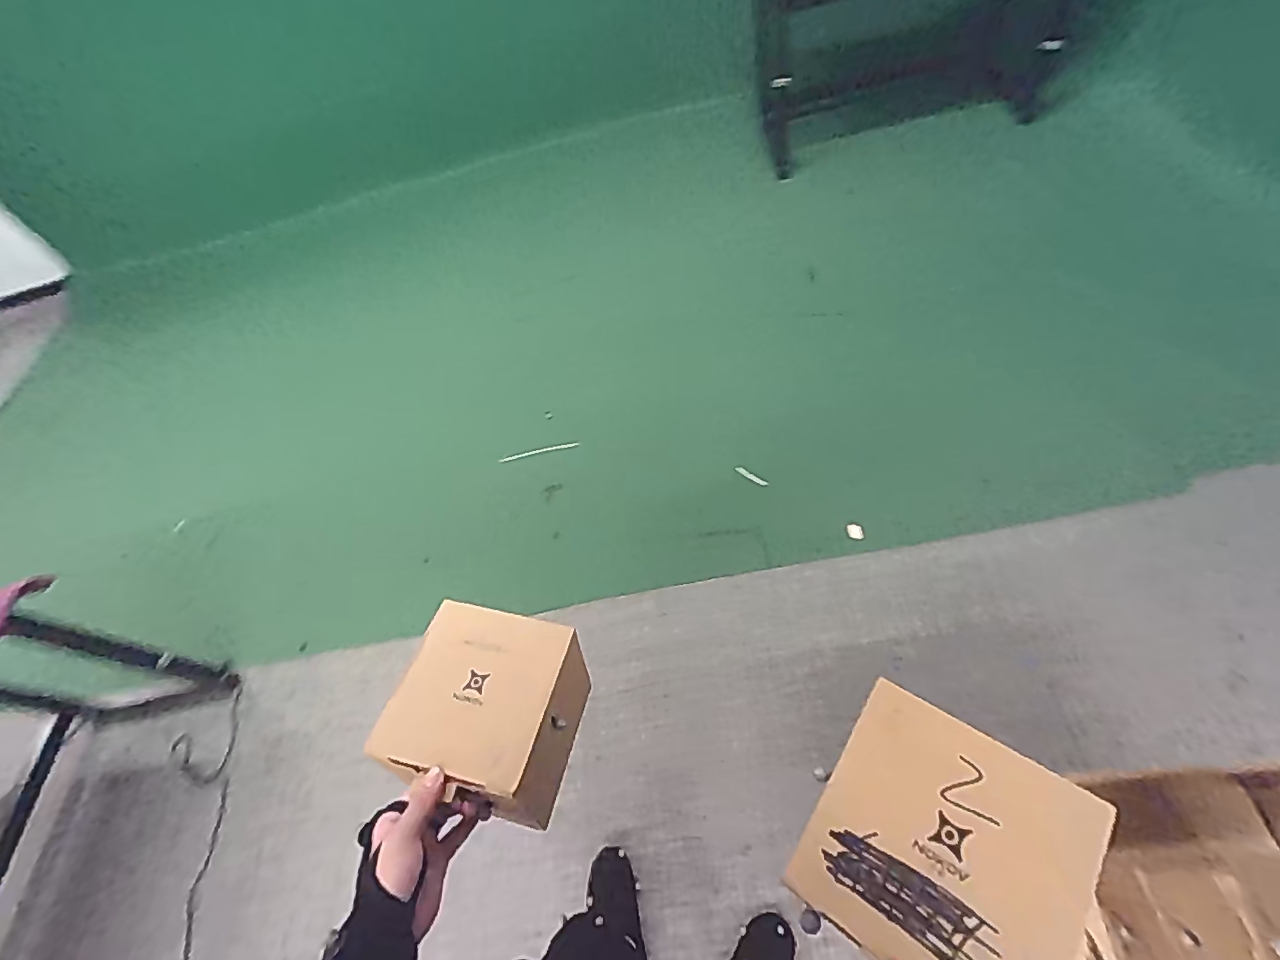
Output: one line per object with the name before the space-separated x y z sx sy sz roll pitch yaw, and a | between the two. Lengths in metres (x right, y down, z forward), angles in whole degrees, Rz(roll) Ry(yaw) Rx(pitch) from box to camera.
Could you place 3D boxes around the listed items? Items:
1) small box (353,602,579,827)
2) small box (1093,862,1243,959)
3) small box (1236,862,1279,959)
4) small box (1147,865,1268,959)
small box | -0.178 0.271 0.622 0.168 0.176 0.179 8 48 11
small box | 0.765 0.611 0.714 0.179 0.176 0.168 -11 54 9
small box | 0.691 0.430 0.453 0.179 0.176 0.168 -4 56 15
small box | 0.725 0.523 0.584 0.179 0.176 0.168 -11 55 9
